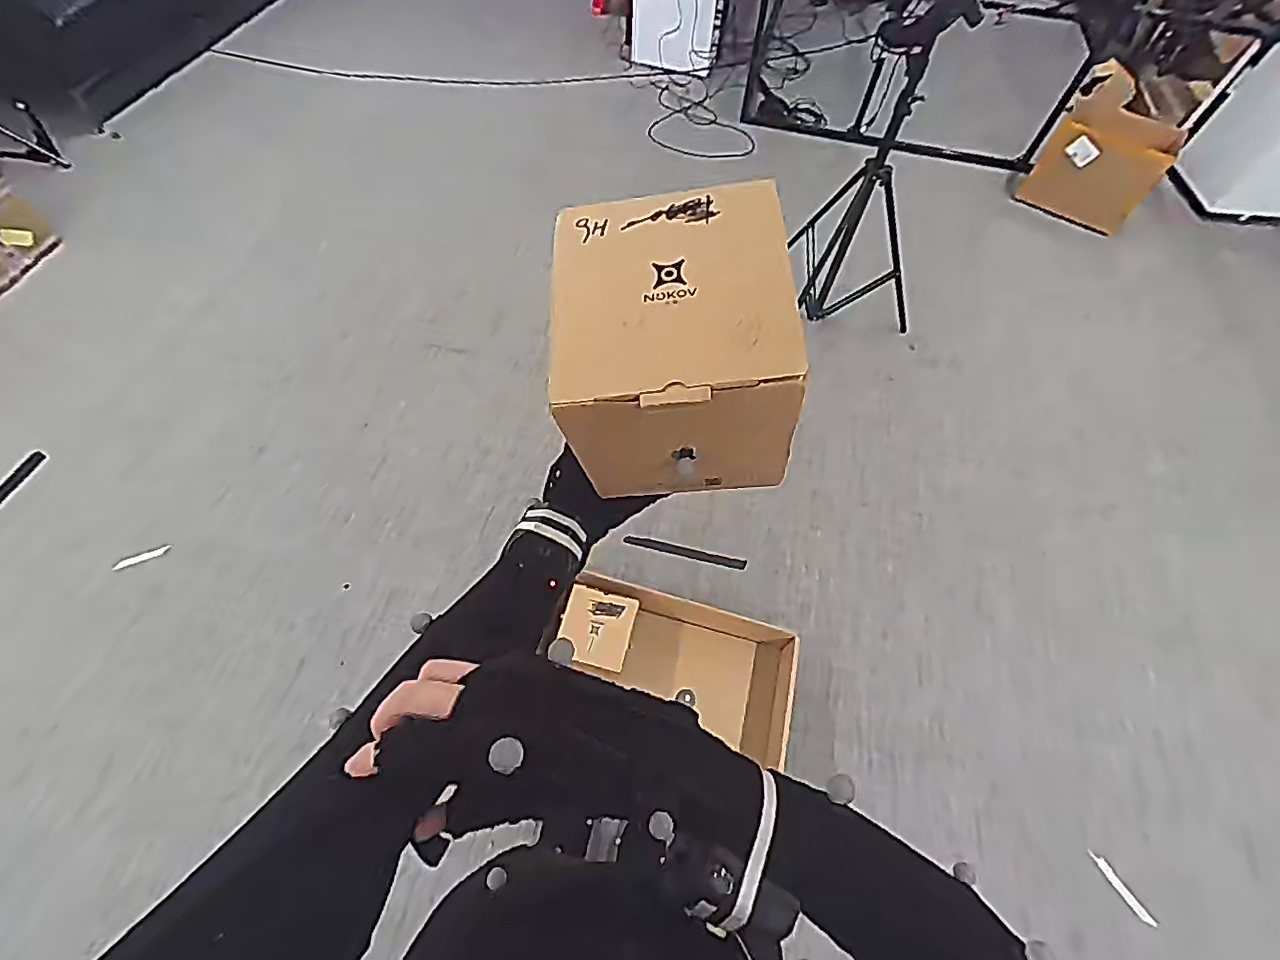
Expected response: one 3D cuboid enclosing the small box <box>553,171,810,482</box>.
[{"bbox_3d":[0.034,-0.105,0.439,0.168,0.176,0.179,-5,67,7],"label":"small box"}]
